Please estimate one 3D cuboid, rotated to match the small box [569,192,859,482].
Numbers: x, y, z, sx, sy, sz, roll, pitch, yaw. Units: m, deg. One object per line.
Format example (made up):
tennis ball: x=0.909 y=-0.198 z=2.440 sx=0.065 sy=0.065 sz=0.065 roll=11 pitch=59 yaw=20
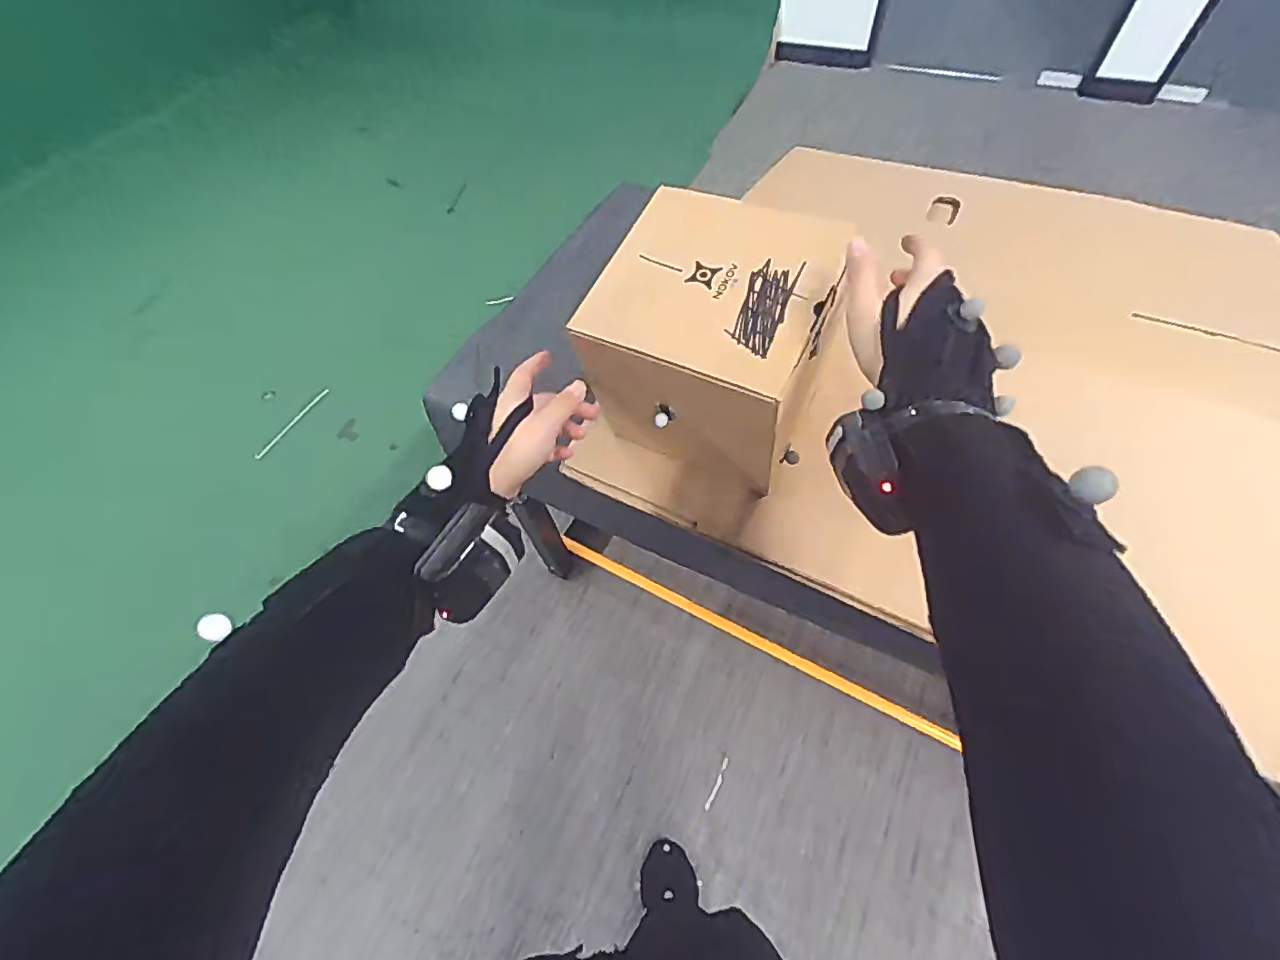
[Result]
small box: x=0.070 y=-0.117 z=0.489 sx=0.179 sy=0.176 sz=0.168 roll=23 pitch=72 yaw=20
